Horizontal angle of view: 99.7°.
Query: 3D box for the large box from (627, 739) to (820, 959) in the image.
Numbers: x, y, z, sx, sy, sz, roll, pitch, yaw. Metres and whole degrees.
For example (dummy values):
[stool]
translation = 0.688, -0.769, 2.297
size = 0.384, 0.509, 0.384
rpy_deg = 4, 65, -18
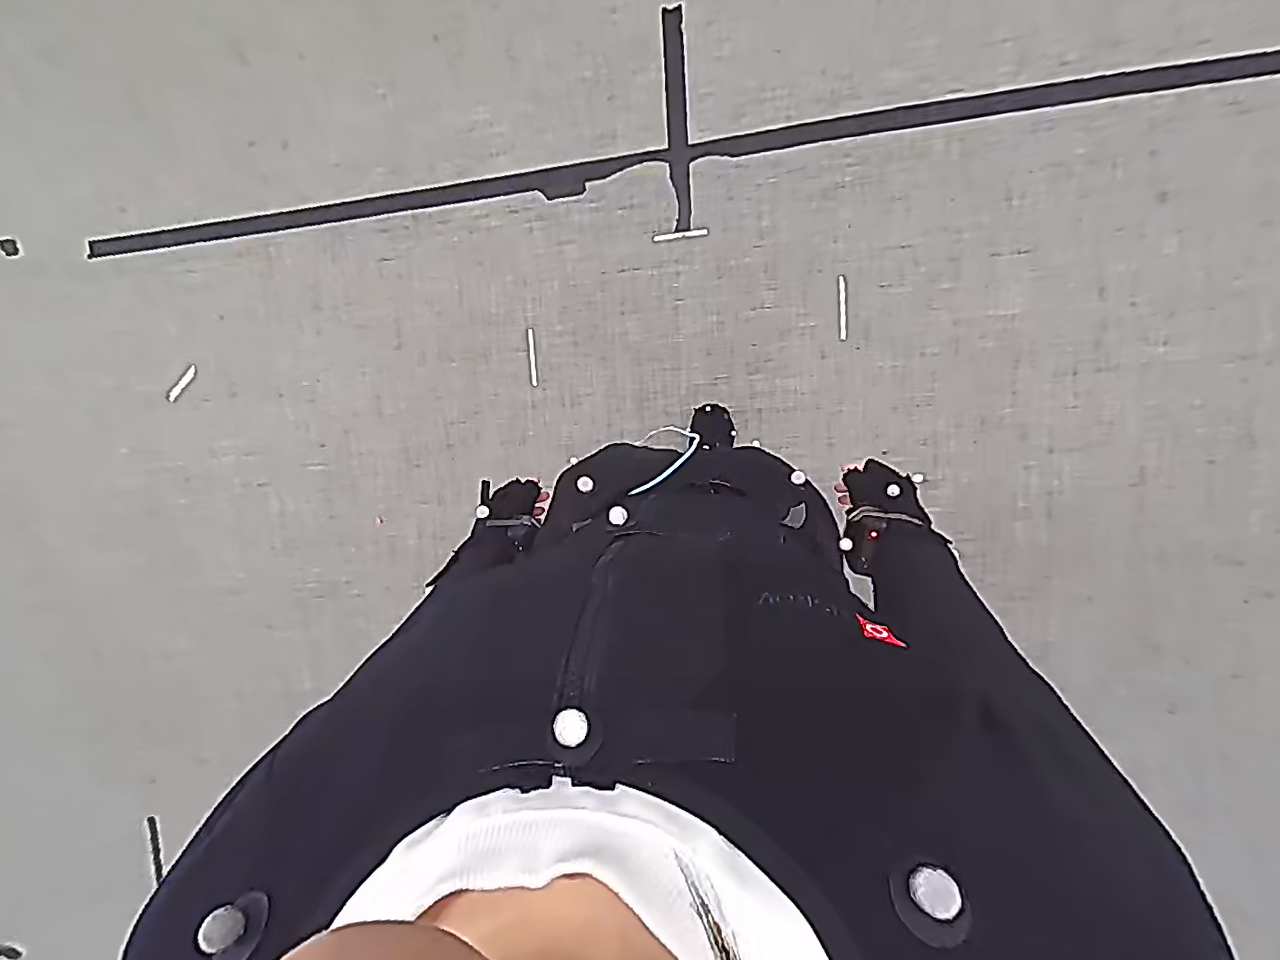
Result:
[large box]
translation = 0.197, 0.911, 1.371
size = 0.408, 0.320, 0.320
rpy_deg = 8, 98, 5
